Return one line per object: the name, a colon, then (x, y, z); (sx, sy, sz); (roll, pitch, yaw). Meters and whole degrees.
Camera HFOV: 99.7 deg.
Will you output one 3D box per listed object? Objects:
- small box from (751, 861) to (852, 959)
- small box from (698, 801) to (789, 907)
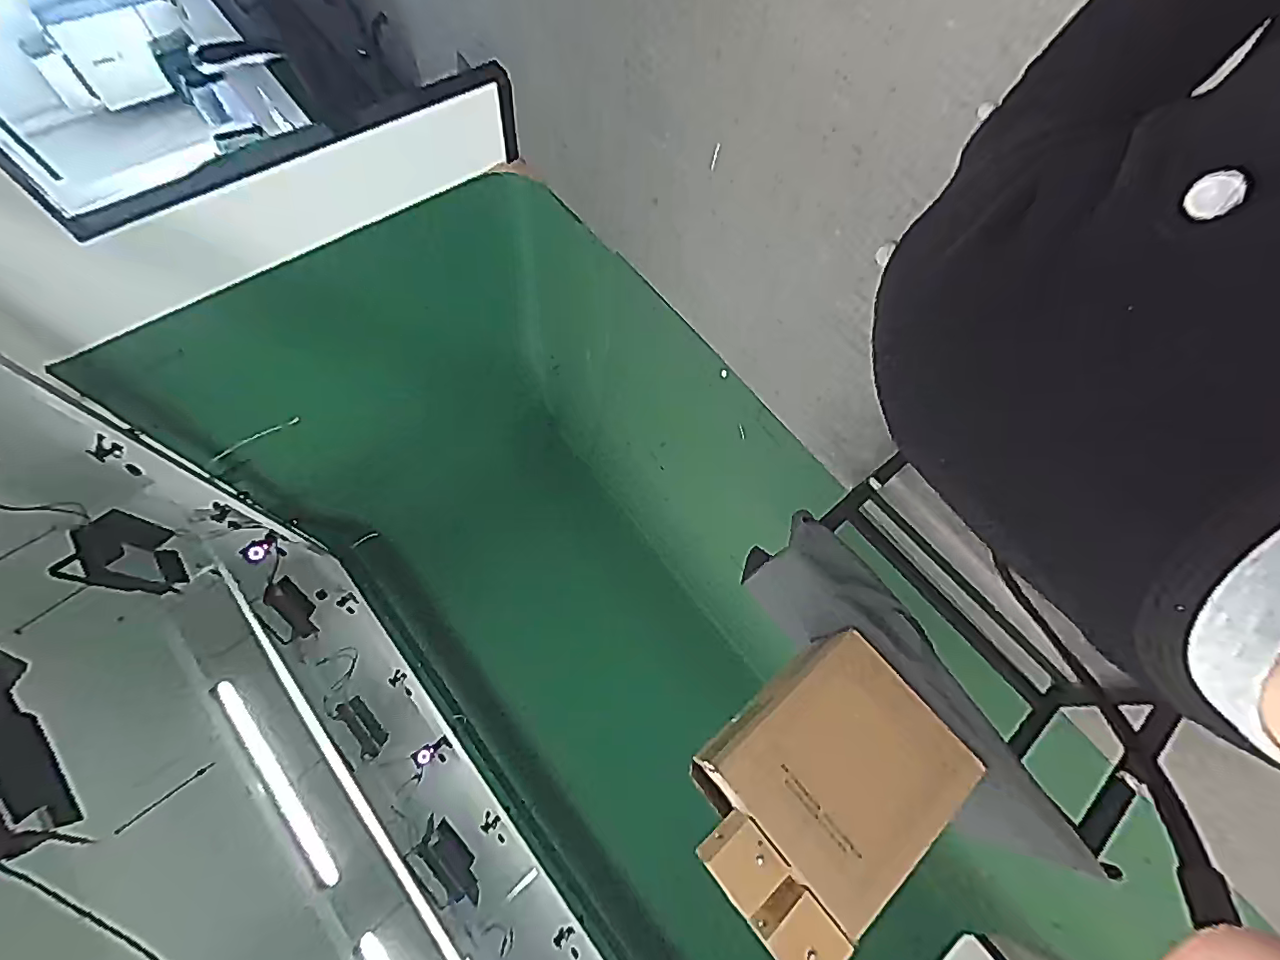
small box: (0.444, 1.207, 1.485); (0.179, 0.176, 0.168); (46, 159, 13)
small box: (0.295, 1.055, 1.546); (0.168, 0.176, 0.179); (48, 159, 14)
